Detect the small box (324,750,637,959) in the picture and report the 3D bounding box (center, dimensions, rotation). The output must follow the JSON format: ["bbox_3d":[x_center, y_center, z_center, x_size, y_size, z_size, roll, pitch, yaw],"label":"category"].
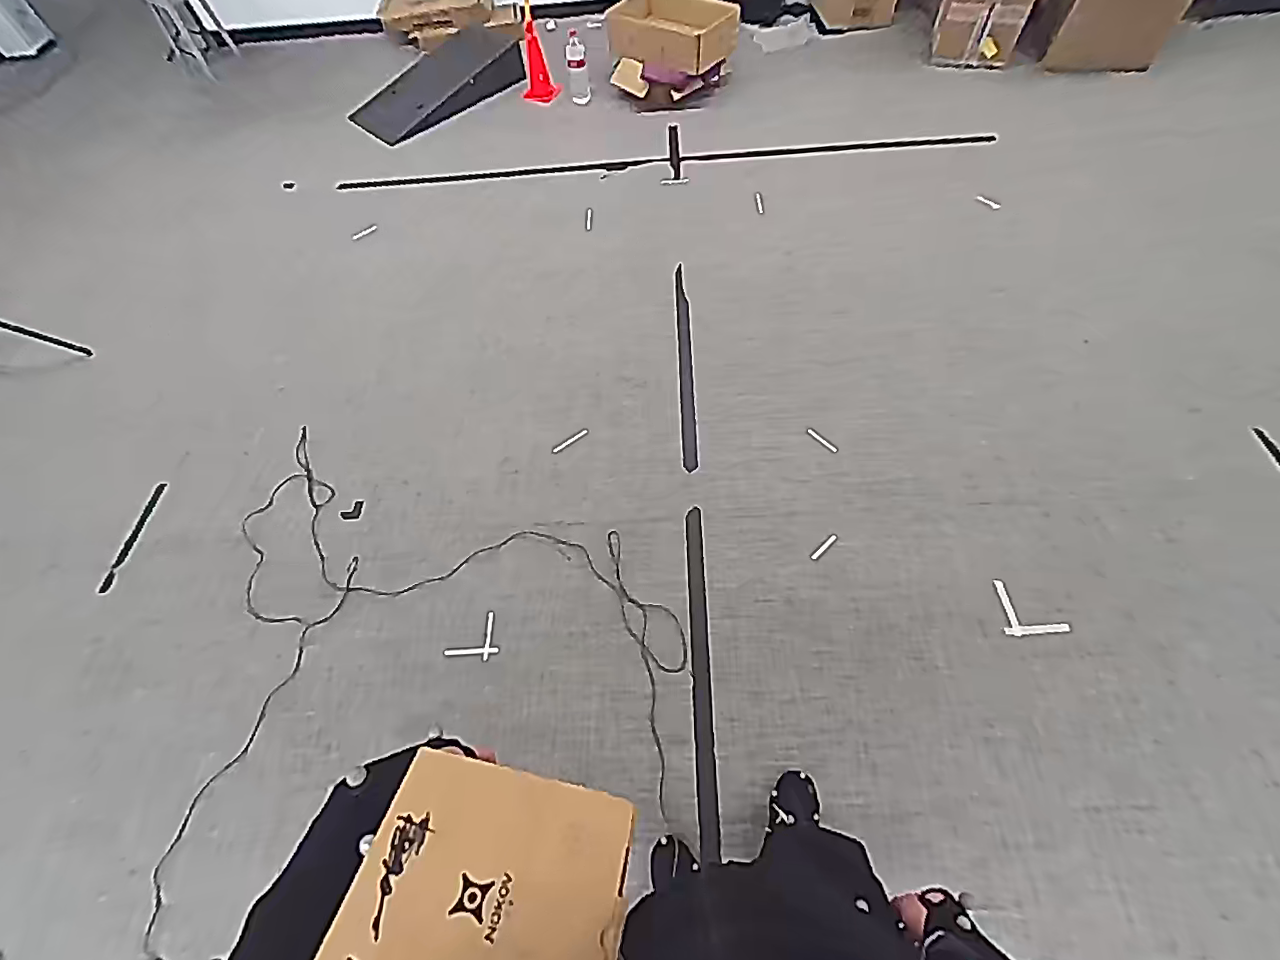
[{"bbox_3d":[-0.110,0.341,0.412,0.179,0.176,0.168,12,40,3],"label":"small box"}]
